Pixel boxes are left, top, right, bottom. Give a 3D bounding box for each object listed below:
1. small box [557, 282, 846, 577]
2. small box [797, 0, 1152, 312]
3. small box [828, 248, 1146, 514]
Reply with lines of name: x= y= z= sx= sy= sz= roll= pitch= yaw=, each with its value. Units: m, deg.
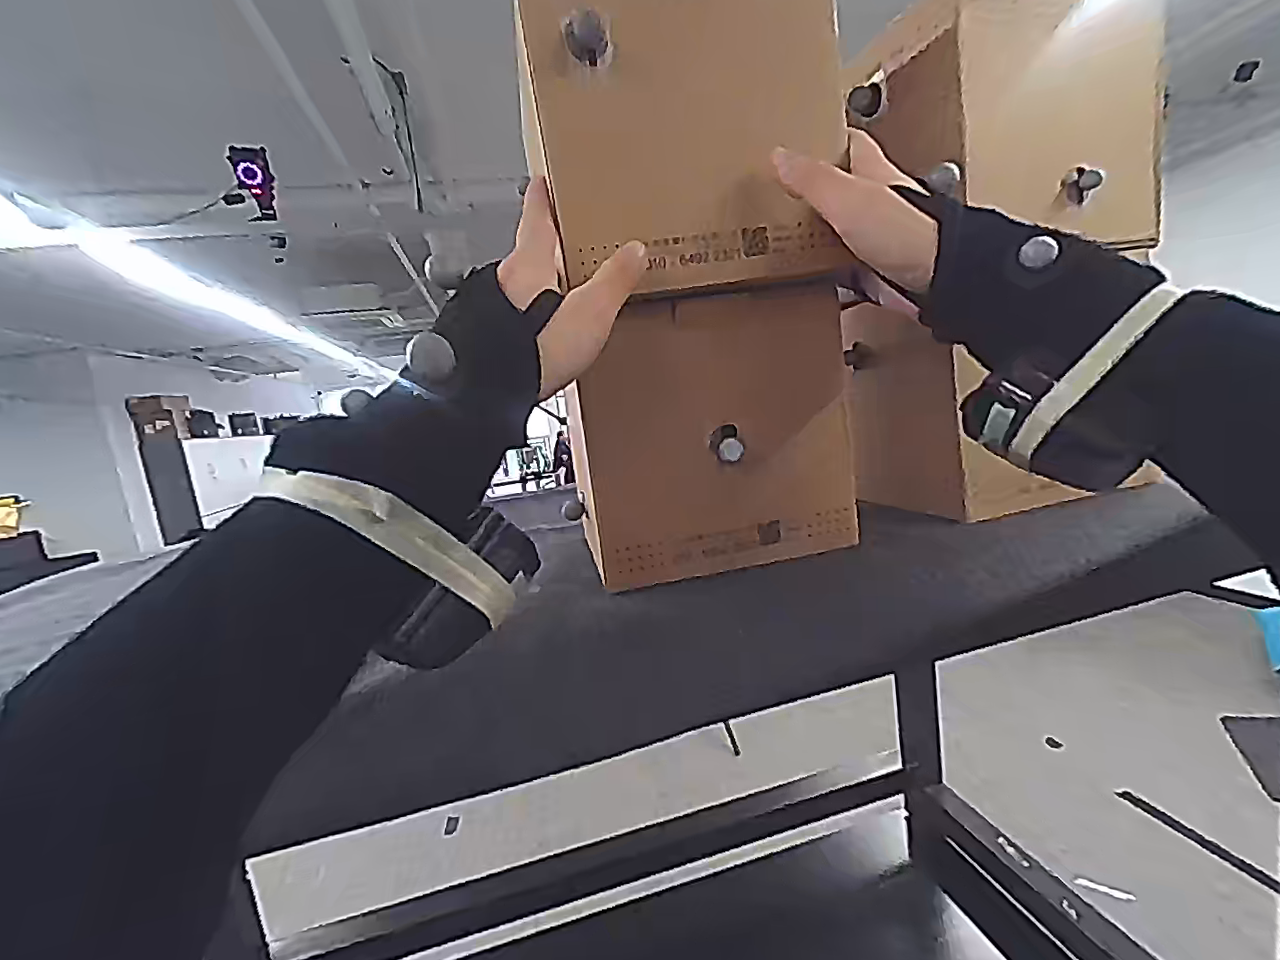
small box: x=0.034 y=-0.035 z=0.403 sx=0.168 sy=0.176 sz=0.179 roll=-9 pitch=9 yaw=-9
small box: x=0.243 y=-0.237 z=0.416 sx=0.179 sy=0.176 sz=0.168 roll=-9 pitch=7 yaw=-16
small box: x=0.264 y=-0.073 z=0.450 sx=0.168 sy=0.176 sz=0.179 roll=-11 pitch=8 yaw=-11
